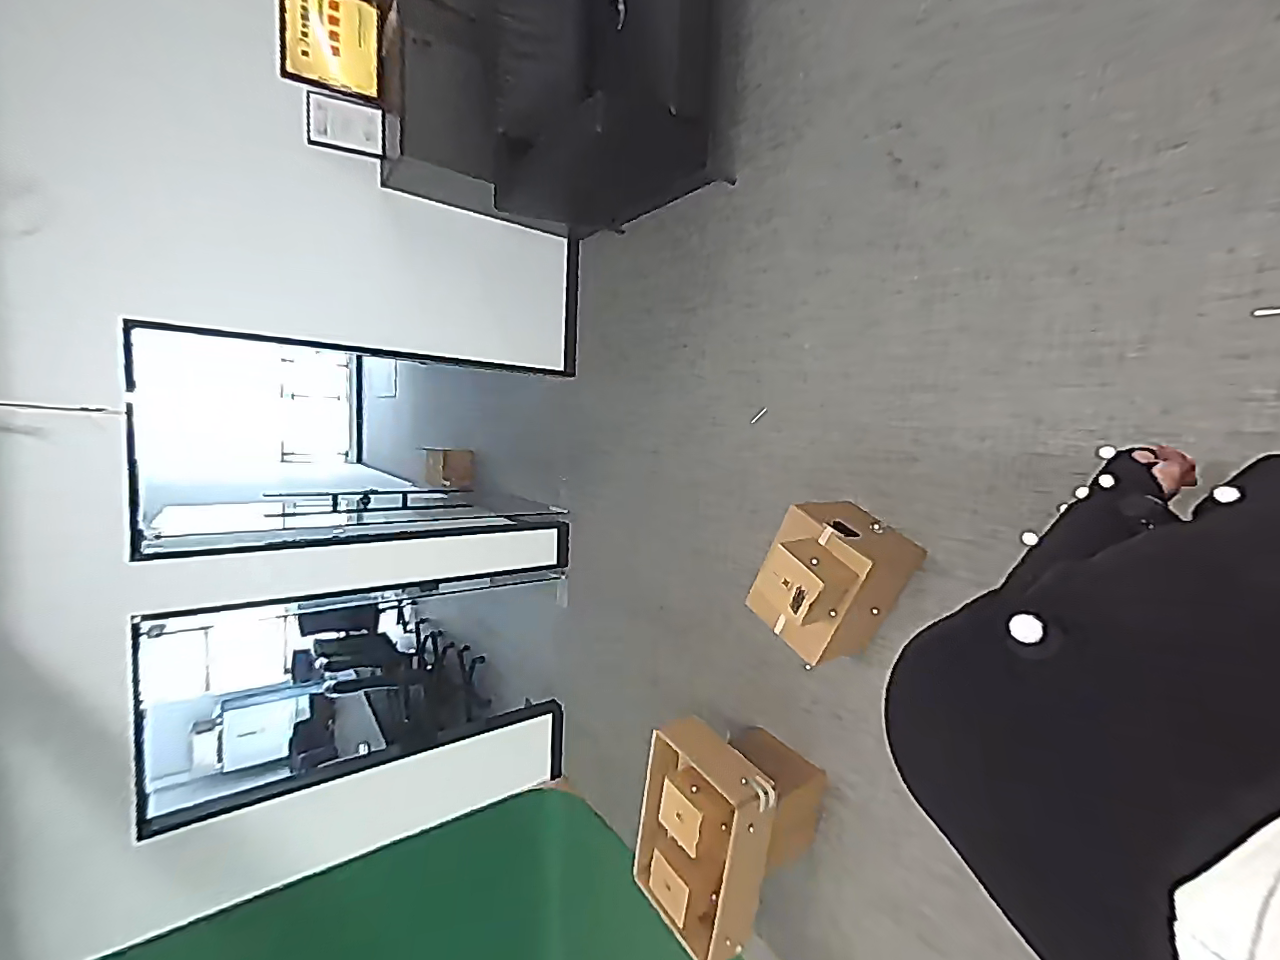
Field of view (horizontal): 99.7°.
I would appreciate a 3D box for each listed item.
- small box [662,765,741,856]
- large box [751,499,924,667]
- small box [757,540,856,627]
[{"bbox_3d":[0.198,1.059,1.755,0.179,0.176,0.168,21,107,49],"label":"small box"},{"bbox_3d":[0.628,0.313,1.748,0.320,0.320,0.408,42,124,44],"label":"large box"},{"bbox_3d":[0.476,0.285,1.540,0.179,0.176,0.168,45,125,40],"label":"small box"}]
